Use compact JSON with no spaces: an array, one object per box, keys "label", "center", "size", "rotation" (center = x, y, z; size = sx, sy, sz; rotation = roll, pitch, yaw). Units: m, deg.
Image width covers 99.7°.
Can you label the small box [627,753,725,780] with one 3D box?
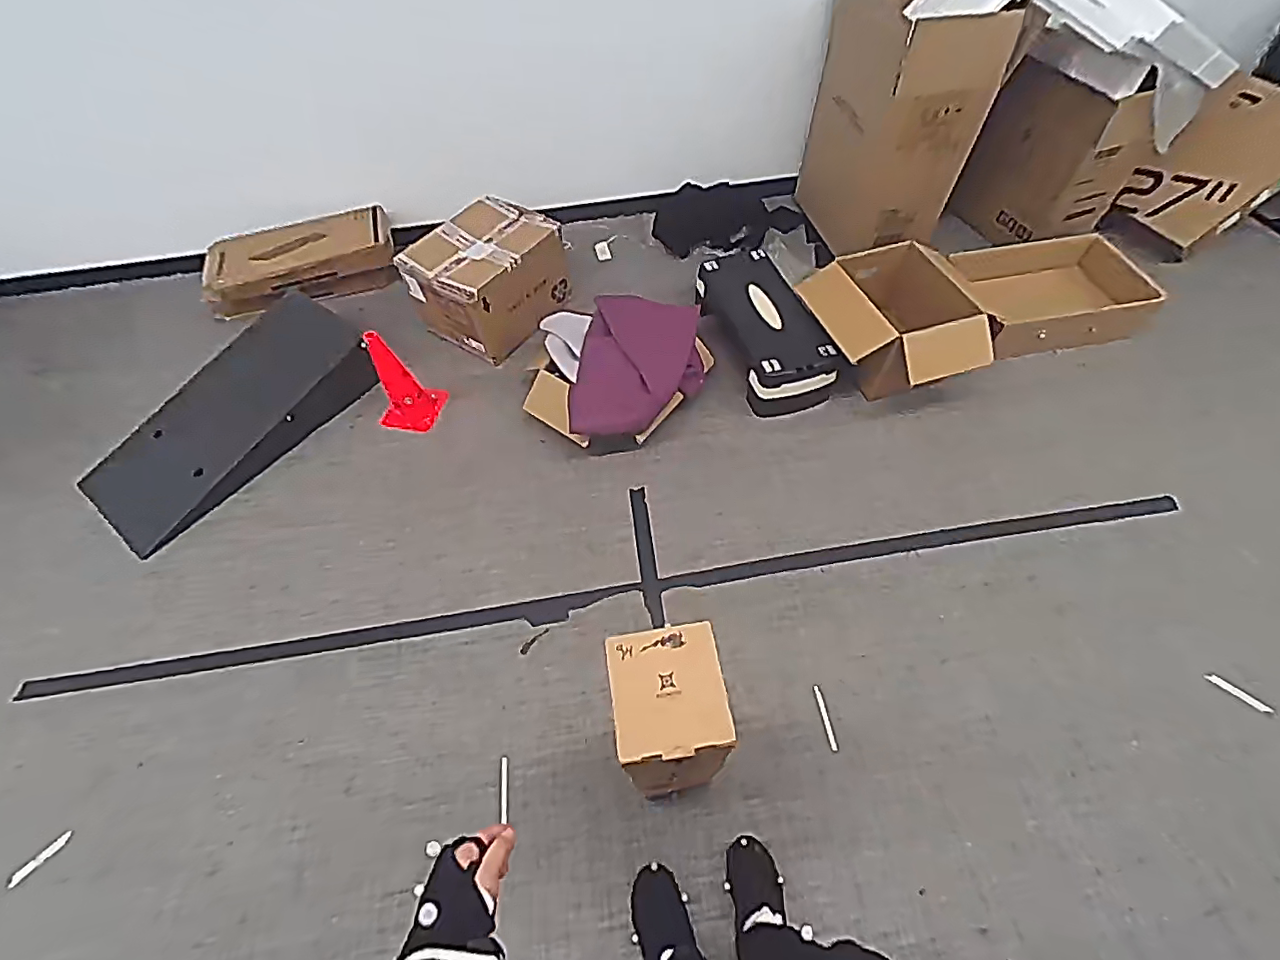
[{"label":"small box","center":[0.052,0.429,0.977],"size":[0.168,0.176,0.179],"rotation":[-7,57,0]}]

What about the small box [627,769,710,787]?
[{"label":"small box","center":[0.058,0.522,1.113],"size":[0.179,0.176,0.168],"rotation":[-9,57,-2]}]

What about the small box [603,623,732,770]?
[{"label":"small box","center":[0.041,0.342,0.839],"size":[0.168,0.176,0.179],"rotation":[-9,57,-2]}]

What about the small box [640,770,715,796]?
[{"label":"small box","center":[0.066,0.613,1.250],"size":[0.168,0.176,0.179],"rotation":[-13,58,-4]}]
